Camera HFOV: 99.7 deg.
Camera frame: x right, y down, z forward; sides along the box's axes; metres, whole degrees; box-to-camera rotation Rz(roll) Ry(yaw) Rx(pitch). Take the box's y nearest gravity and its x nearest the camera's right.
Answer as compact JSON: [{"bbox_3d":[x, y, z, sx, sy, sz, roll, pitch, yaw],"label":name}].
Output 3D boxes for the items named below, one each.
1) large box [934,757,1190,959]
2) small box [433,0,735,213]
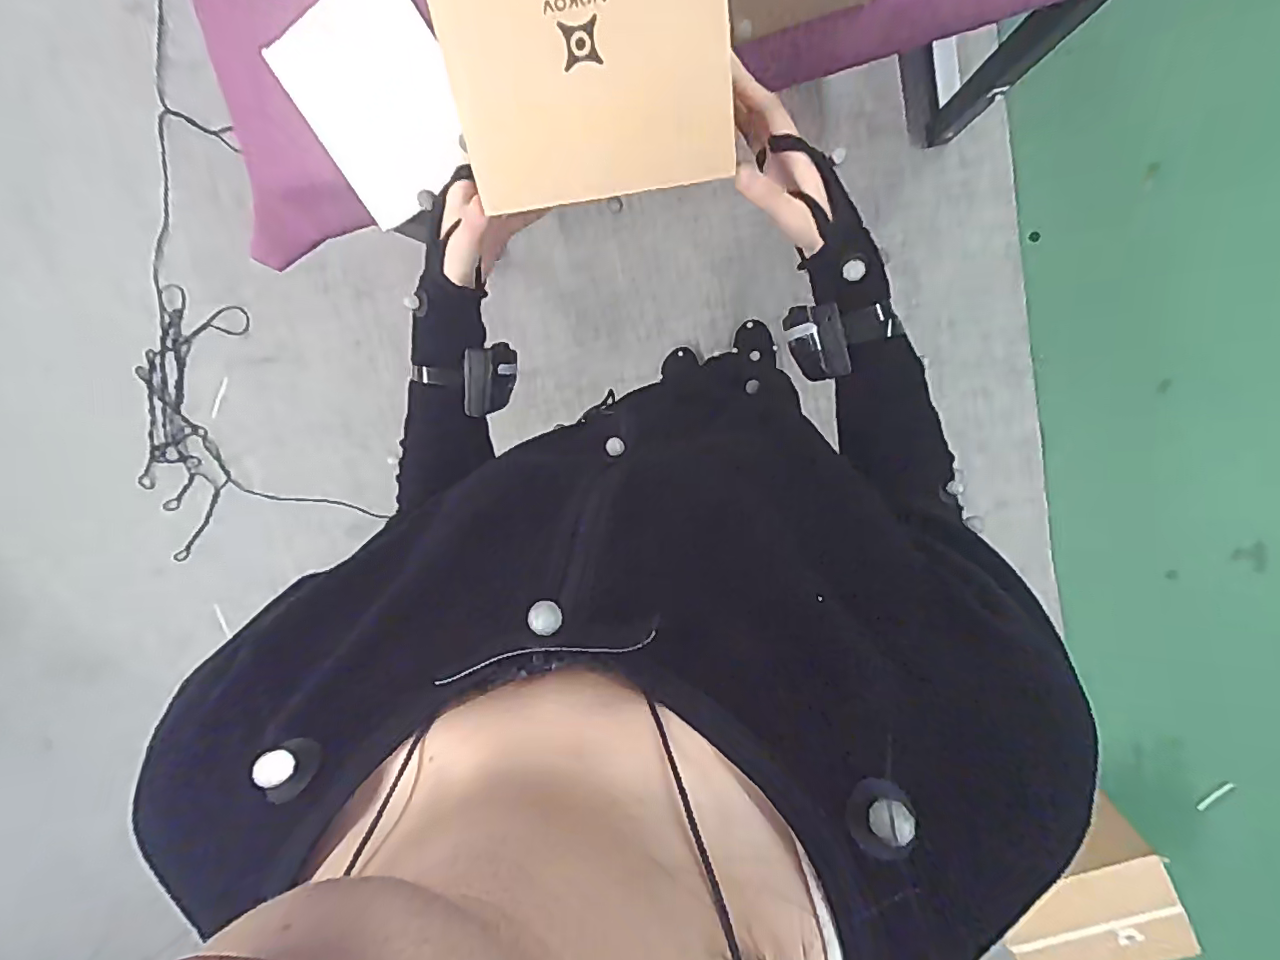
[{"bbox_3d":[1.112,1.044,1.475,0.408,0.320,0.320,-27,99,10],"label":"large box"},{"bbox_3d":[-0.026,-0.295,0.366,0.168,0.176,0.179,-5,120,6],"label":"small box"}]
